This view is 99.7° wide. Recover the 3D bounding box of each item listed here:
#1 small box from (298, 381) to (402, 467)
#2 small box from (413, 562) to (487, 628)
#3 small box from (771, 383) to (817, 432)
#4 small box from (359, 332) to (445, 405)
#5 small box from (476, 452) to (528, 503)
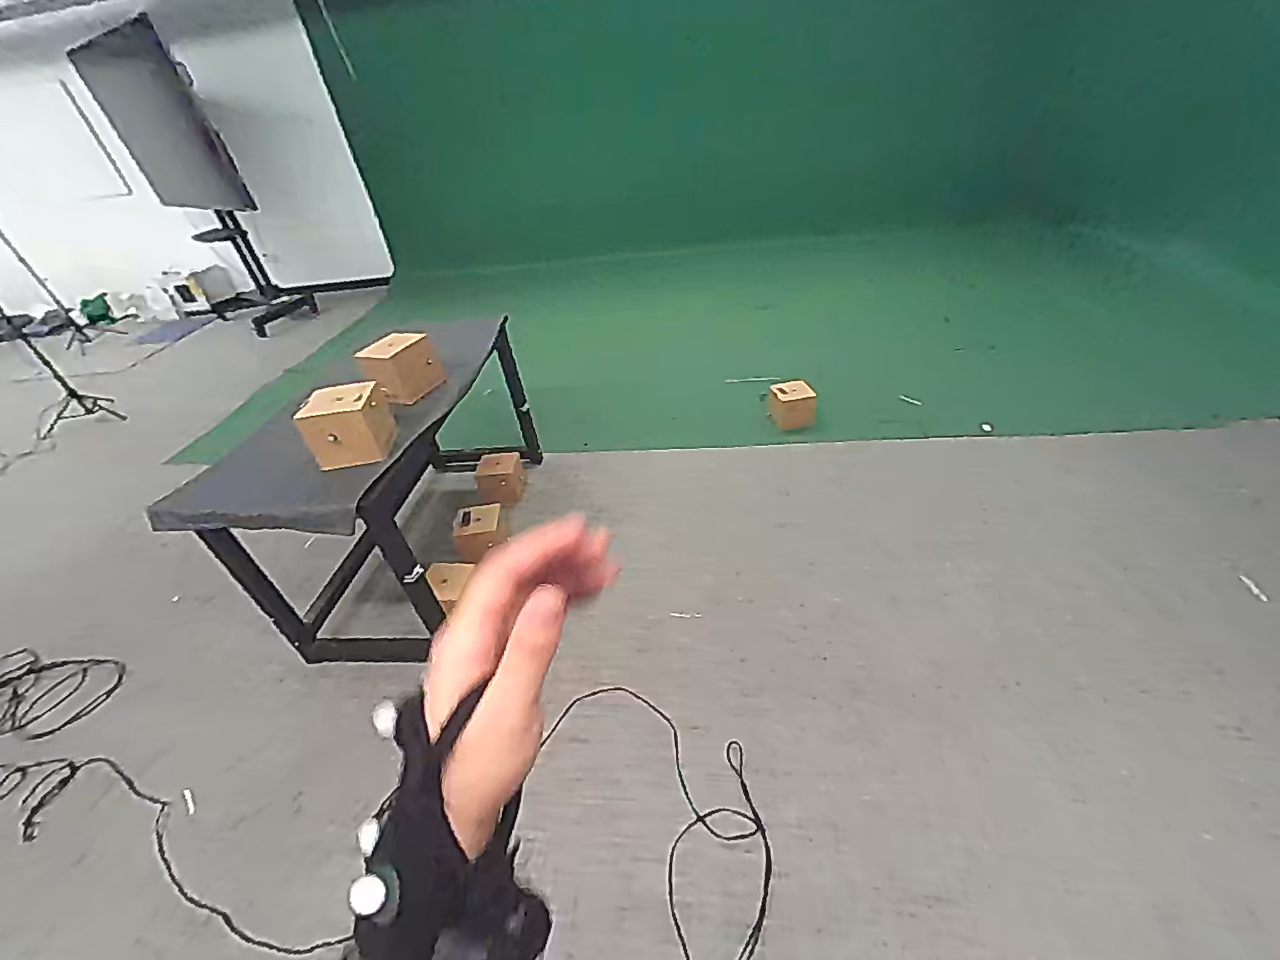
[{"bbox_3d":[-0.794,-0.152,1.498,0.179,0.176,0.168,-9,38,-2],"label":"small box"},{"bbox_3d":[-0.674,0.415,1.945,0.179,0.176,0.168,1,39,12],"label":"small box"},{"bbox_3d":[0.753,-0.353,2.658,0.179,0.176,0.168,-11,38,-5],"label":"small box"},{"bbox_3d":[-0.765,-0.368,1.769,0.168,0.176,0.179,9,42,26],"label":"small box"},{"bbox_3d":[-0.625,-0.011,2.472,0.179,0.176,0.168,-4,37,5],"label":"small box"}]
